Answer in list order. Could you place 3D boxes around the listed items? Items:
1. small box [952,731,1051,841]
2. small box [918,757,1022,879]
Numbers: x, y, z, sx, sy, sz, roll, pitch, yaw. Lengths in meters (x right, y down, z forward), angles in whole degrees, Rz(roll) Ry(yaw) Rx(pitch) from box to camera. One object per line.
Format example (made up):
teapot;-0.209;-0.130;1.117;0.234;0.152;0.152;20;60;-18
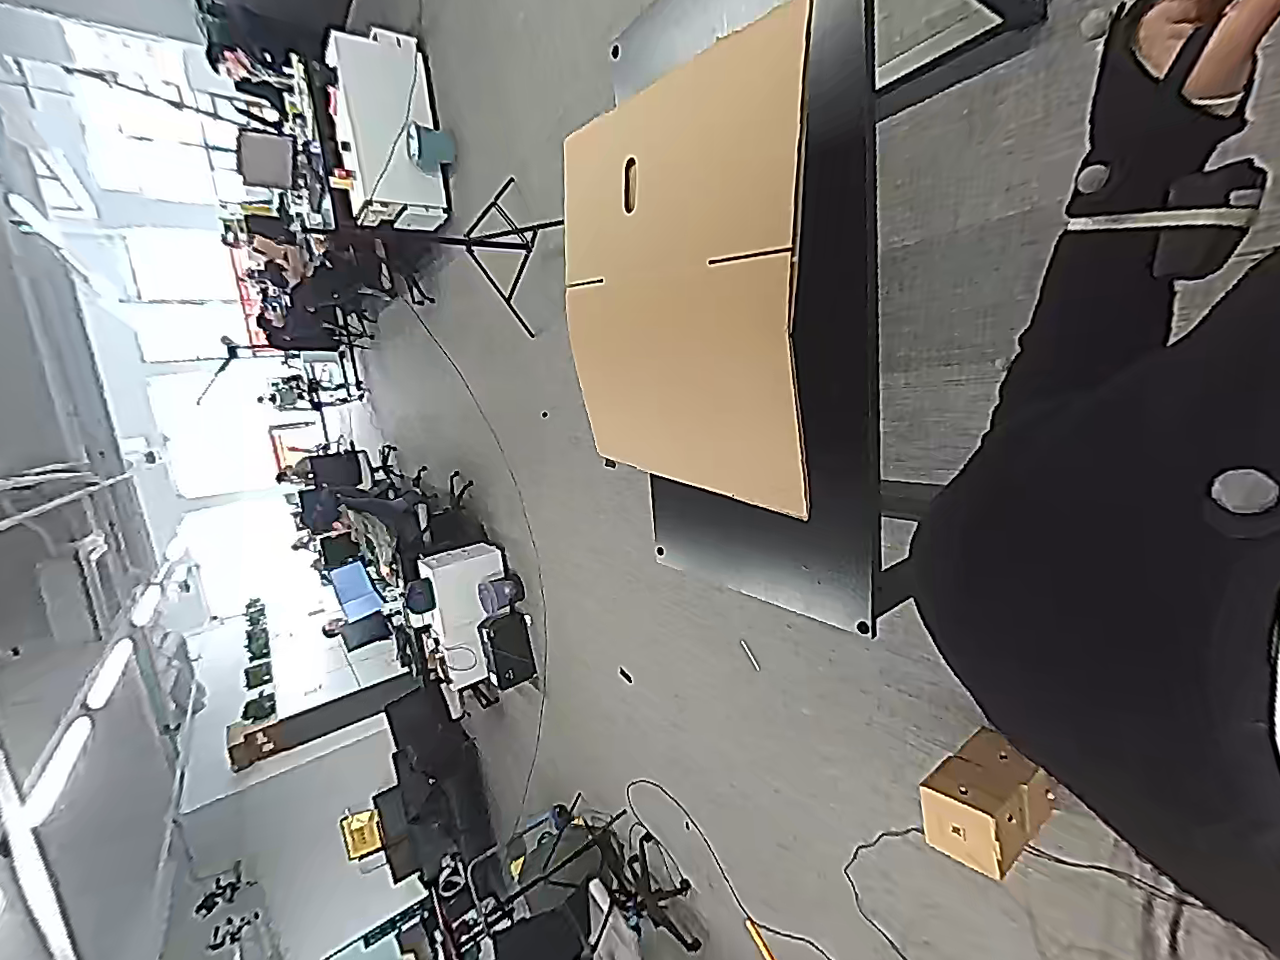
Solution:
small box;0.969;0.805;1.449;0.179;0.176;0.168;4;104;54
small box;0.835;0.836;1.362;0.179;0.176;0.168;-1;99;56
